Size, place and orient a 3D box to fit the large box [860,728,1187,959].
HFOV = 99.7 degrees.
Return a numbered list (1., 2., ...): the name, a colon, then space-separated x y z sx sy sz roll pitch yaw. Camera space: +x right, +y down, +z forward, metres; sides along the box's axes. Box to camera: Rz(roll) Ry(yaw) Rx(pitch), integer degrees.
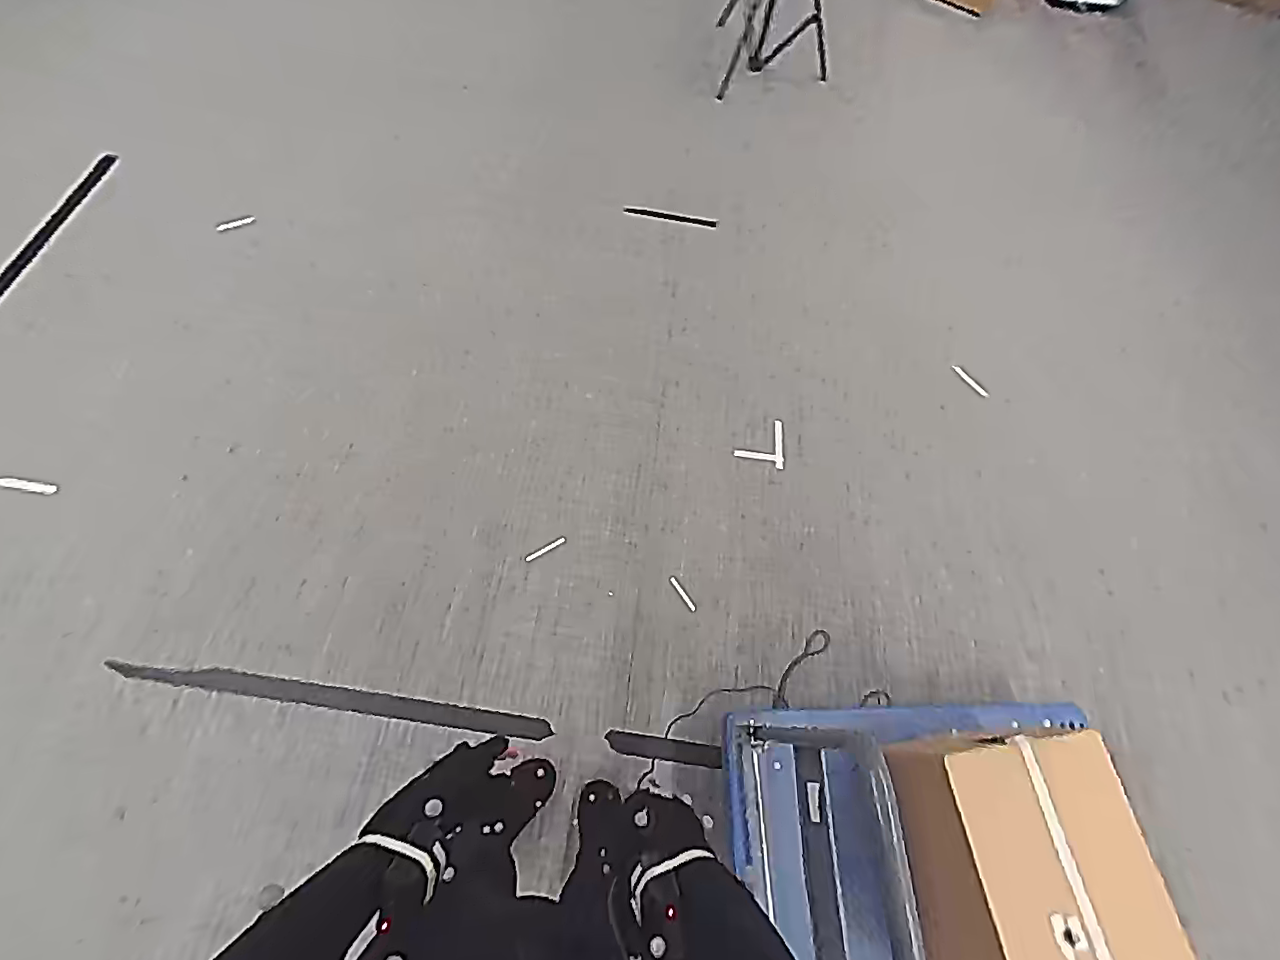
1. large box: 0.675 0.706 1.011 0.320 0.320 0.408 -5 67 -8
